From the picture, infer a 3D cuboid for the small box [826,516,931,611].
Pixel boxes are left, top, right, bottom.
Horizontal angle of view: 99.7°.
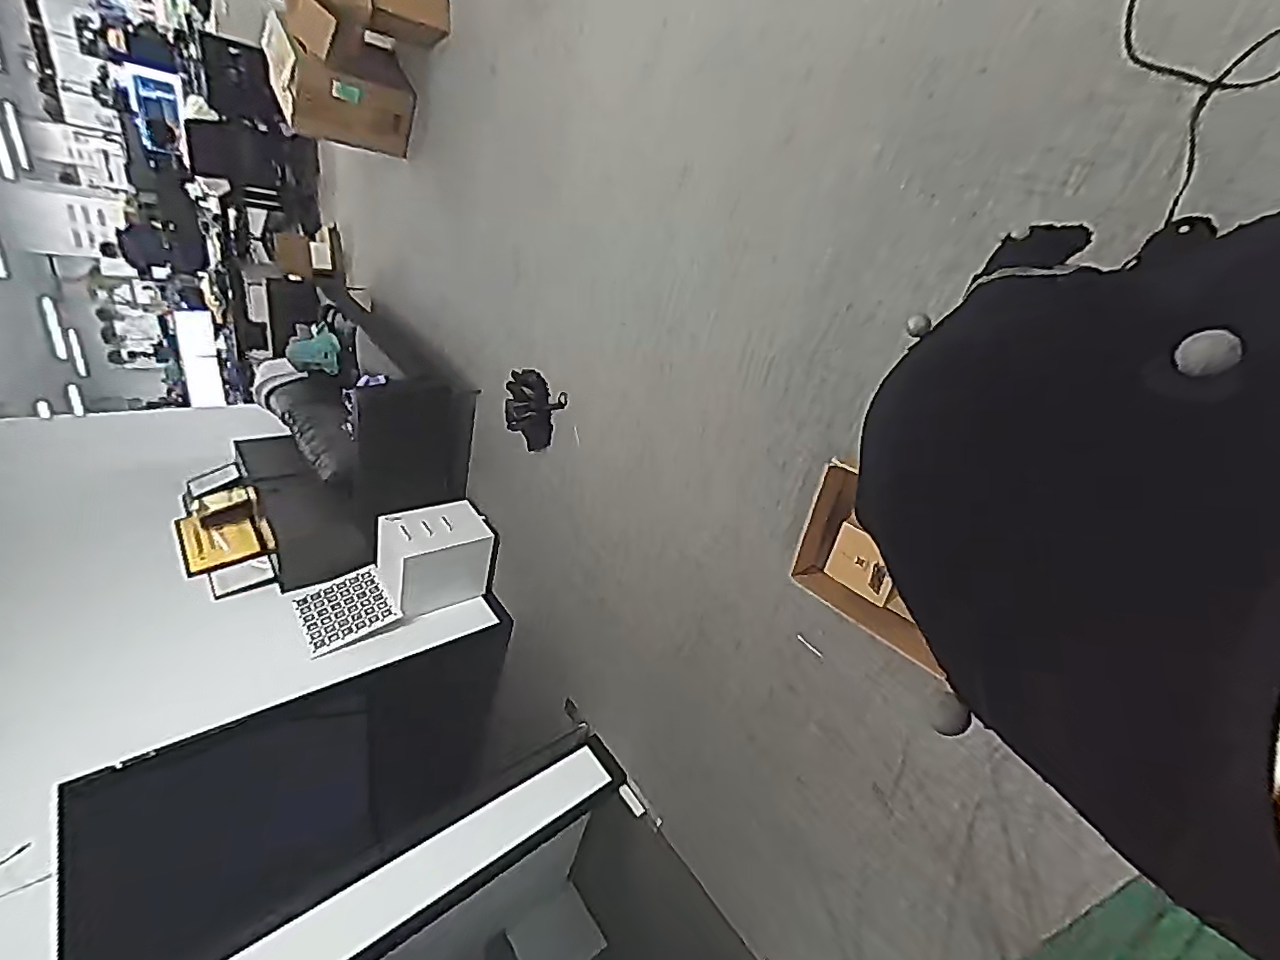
[{"bbox_3d":[0.636,0.212,1.440,0.179,0.176,0.168,35,124,39],"label":"small box"}]
